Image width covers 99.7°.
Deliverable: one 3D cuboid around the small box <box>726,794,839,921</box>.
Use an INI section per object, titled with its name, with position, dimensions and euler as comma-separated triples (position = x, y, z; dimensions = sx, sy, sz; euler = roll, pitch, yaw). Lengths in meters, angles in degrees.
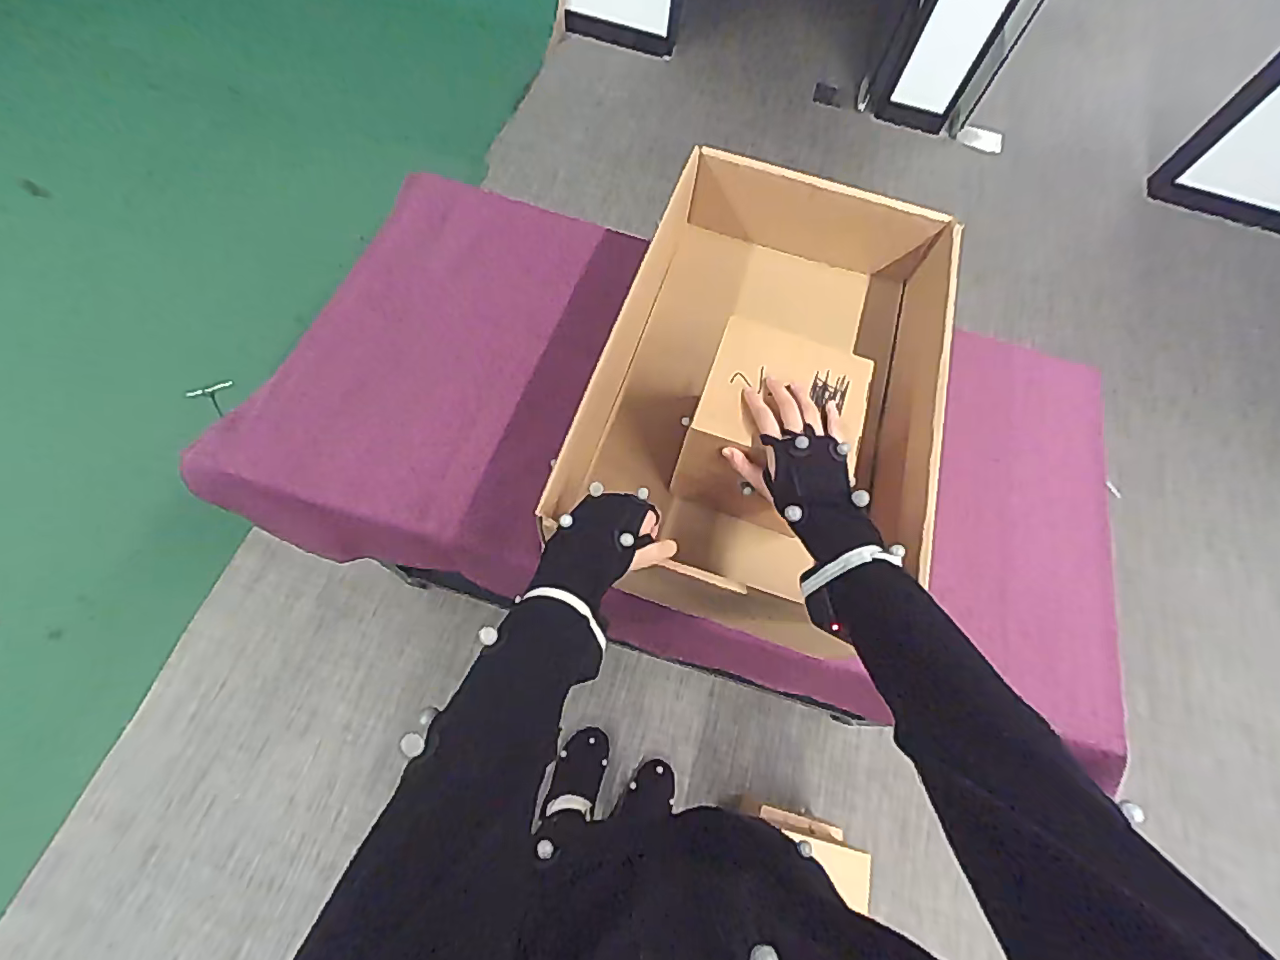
[small box]
position = 0.299, 0.793, 1.157
dimensions = 0.179, 0.176, 0.168
euler = 16, 66, 3
